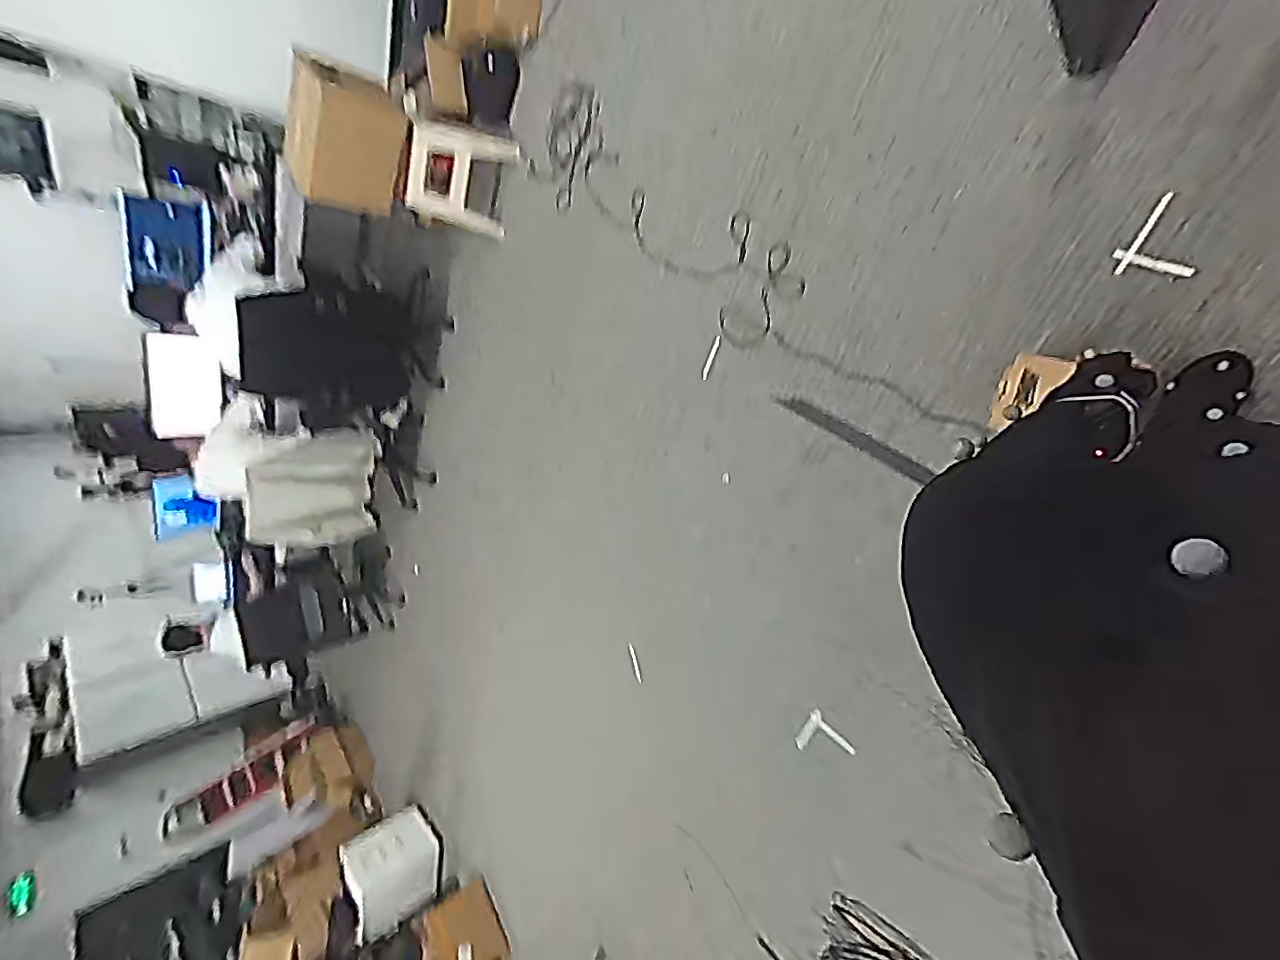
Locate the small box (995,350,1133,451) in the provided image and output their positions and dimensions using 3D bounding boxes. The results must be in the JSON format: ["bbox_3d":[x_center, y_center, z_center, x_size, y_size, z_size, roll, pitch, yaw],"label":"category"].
[{"bbox_3d":[0.891,-0.171,1.139,0.179,0.176,0.168,27,116,37],"label":"small box"}]
